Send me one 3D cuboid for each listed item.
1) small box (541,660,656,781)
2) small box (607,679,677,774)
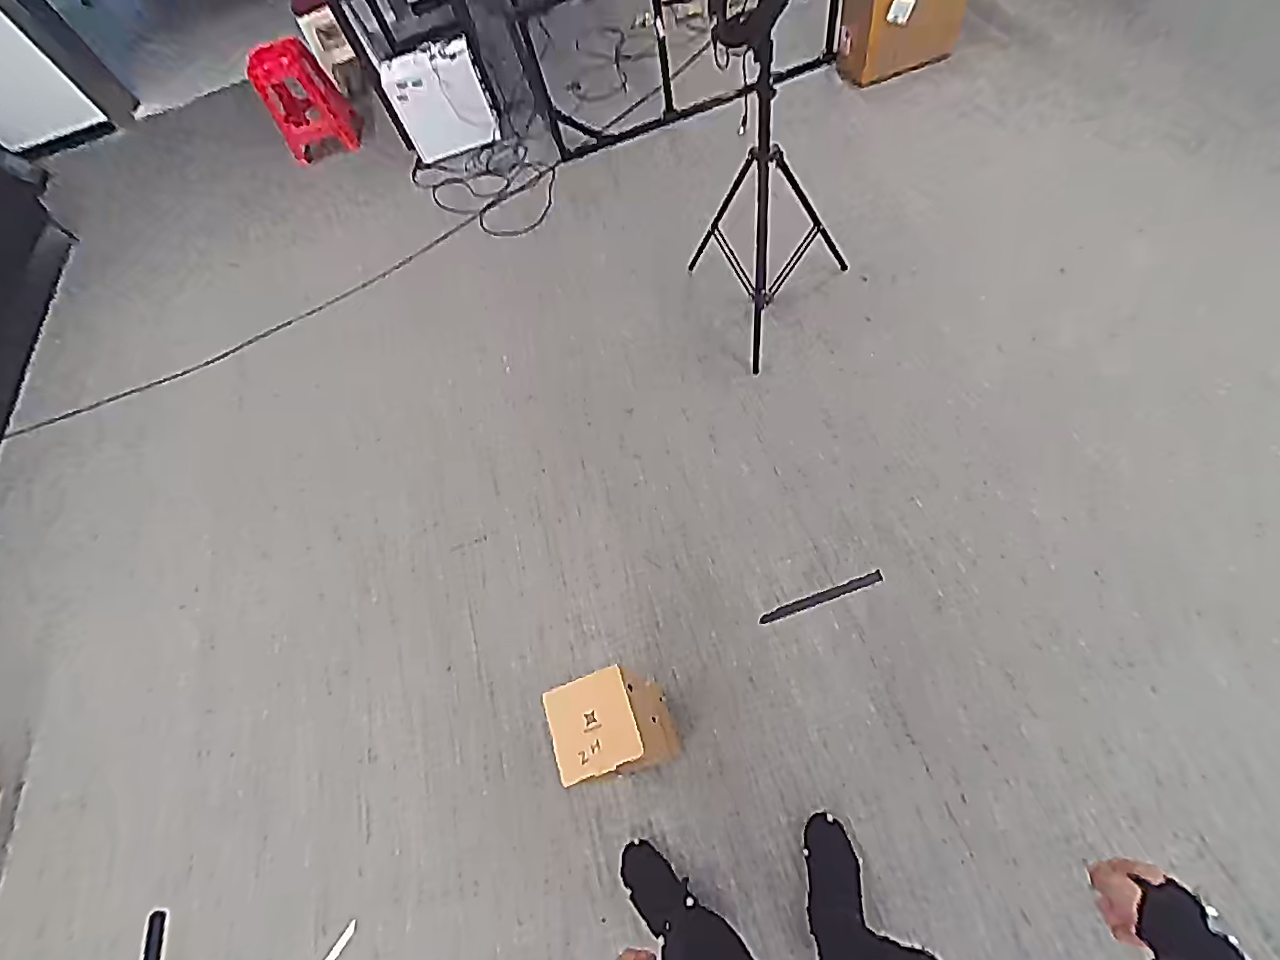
[{"bbox_3d":[-0.081,0.491,1.099,0.168,0.176,0.179,-22,61,1],"label":"small box"},{"bbox_3d":[-0.016,0.635,1.385,0.168,0.176,0.179,-22,60,1],"label":"small box"}]
